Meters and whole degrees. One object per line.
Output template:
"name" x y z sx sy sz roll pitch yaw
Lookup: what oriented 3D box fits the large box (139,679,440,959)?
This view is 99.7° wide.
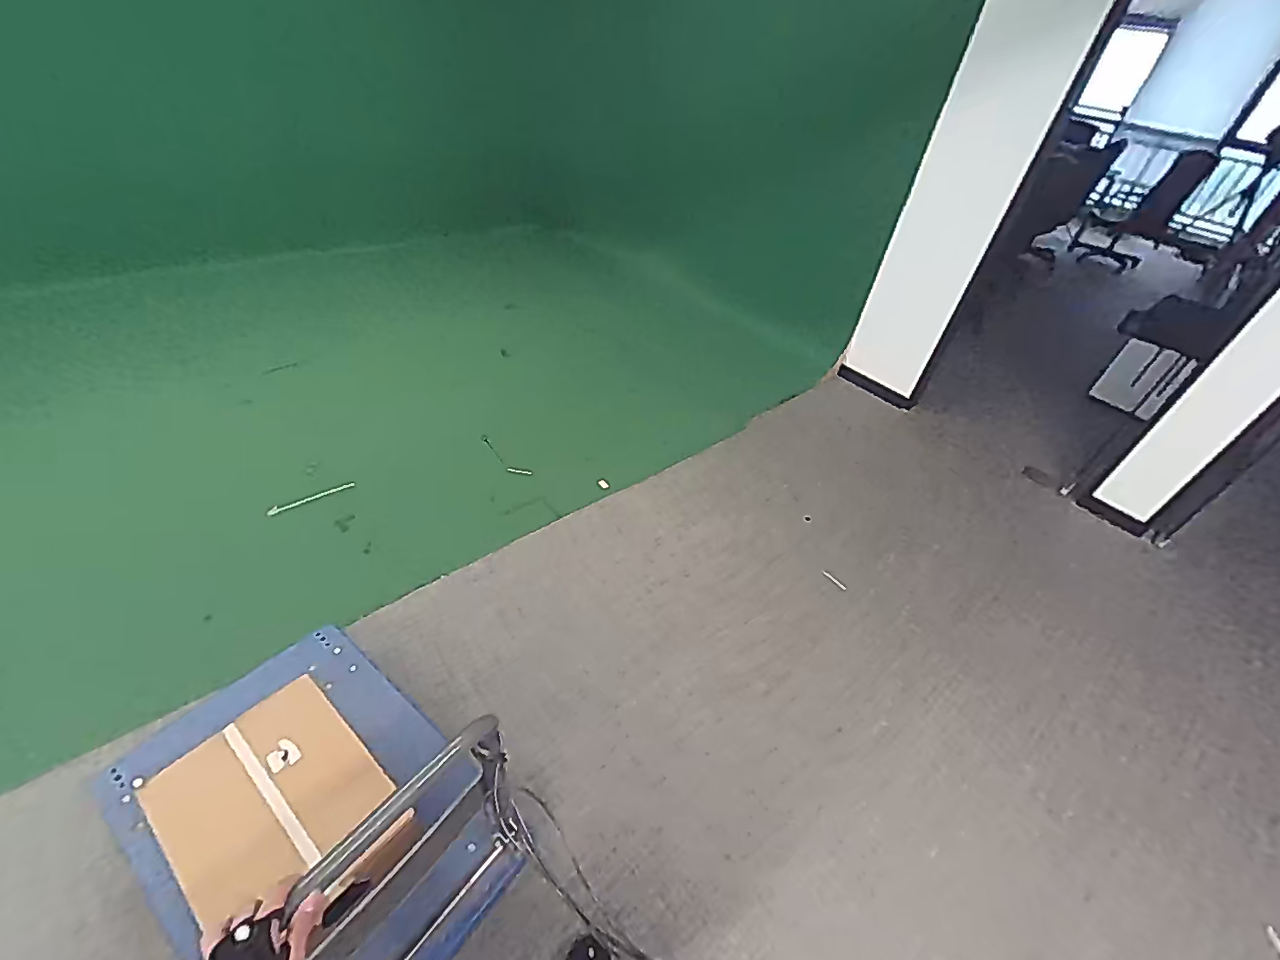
"large box" -0.673 0.702 1.088 0.408 0.320 0.320 32 47 26
